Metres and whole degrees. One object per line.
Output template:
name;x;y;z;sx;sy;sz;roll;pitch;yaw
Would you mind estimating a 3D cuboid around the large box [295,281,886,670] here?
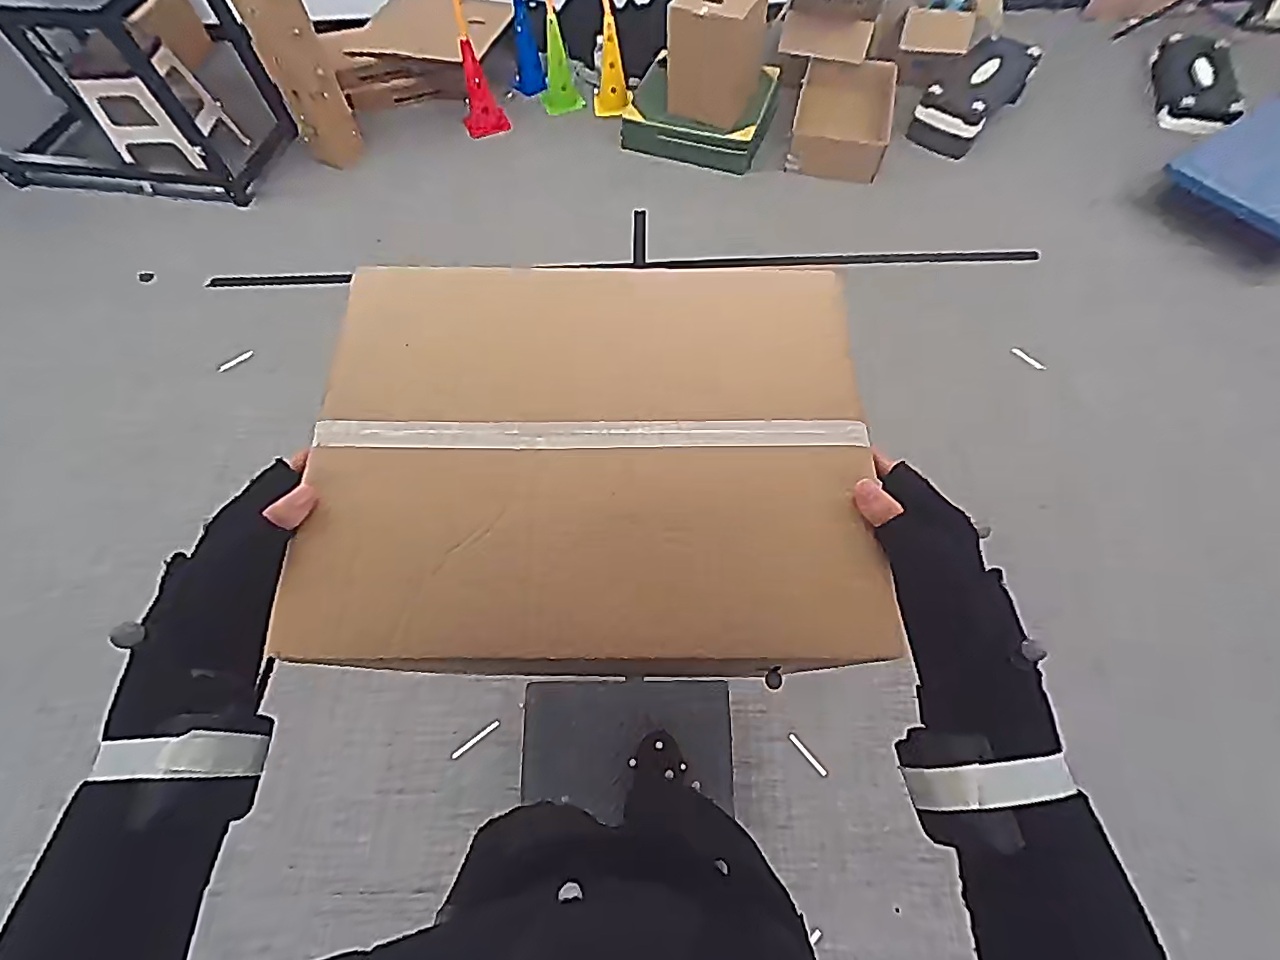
large box;-0.033;0.027;0.550;0.408;0.320;0.320;0;68;0
